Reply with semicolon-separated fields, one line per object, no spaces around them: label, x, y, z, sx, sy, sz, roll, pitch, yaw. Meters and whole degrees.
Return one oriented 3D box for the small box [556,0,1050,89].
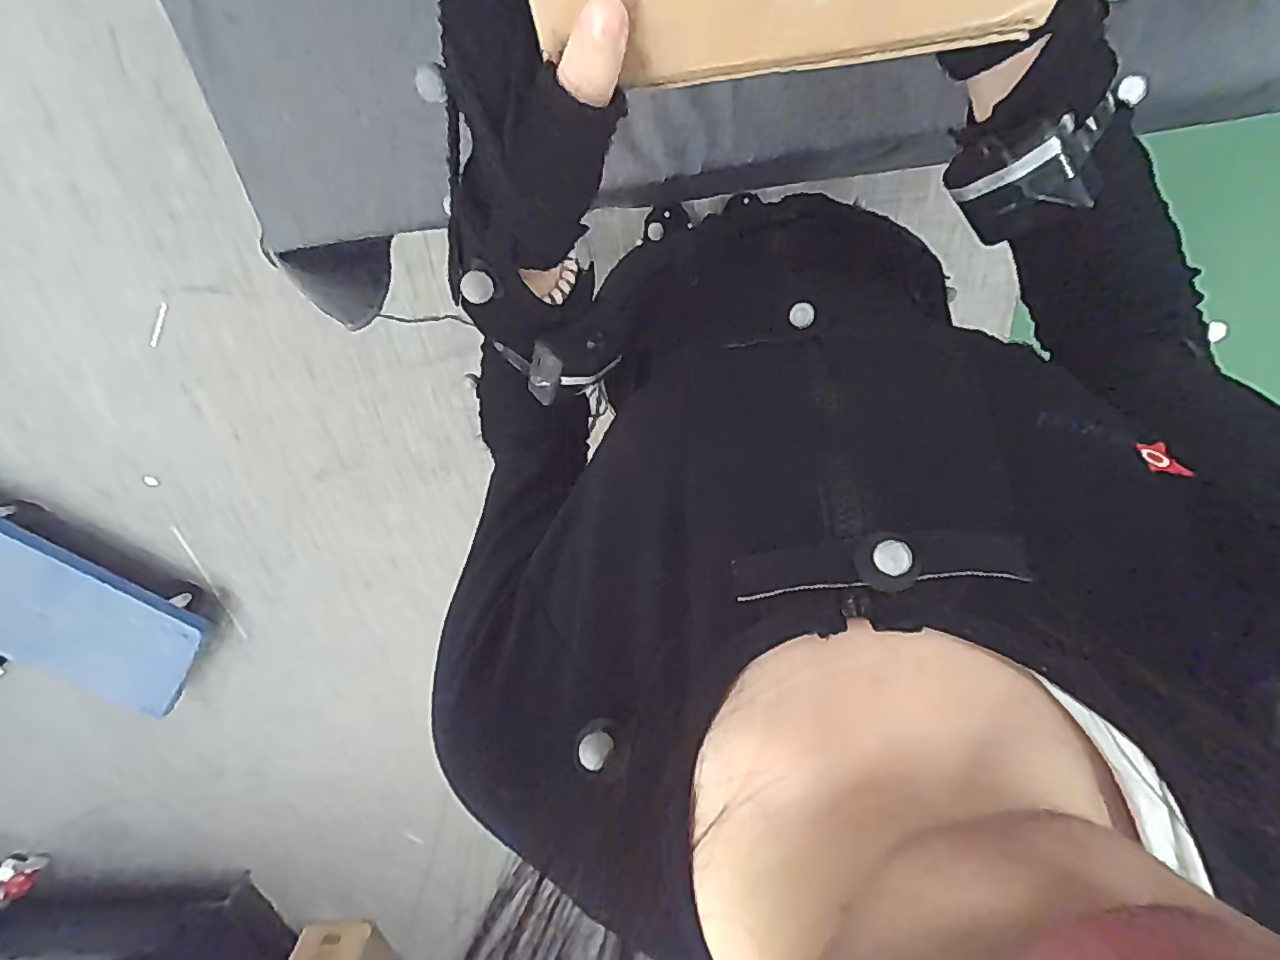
small box;0.044;-0.258;0.148;0.179;0.168;0.176;-5;158;4
